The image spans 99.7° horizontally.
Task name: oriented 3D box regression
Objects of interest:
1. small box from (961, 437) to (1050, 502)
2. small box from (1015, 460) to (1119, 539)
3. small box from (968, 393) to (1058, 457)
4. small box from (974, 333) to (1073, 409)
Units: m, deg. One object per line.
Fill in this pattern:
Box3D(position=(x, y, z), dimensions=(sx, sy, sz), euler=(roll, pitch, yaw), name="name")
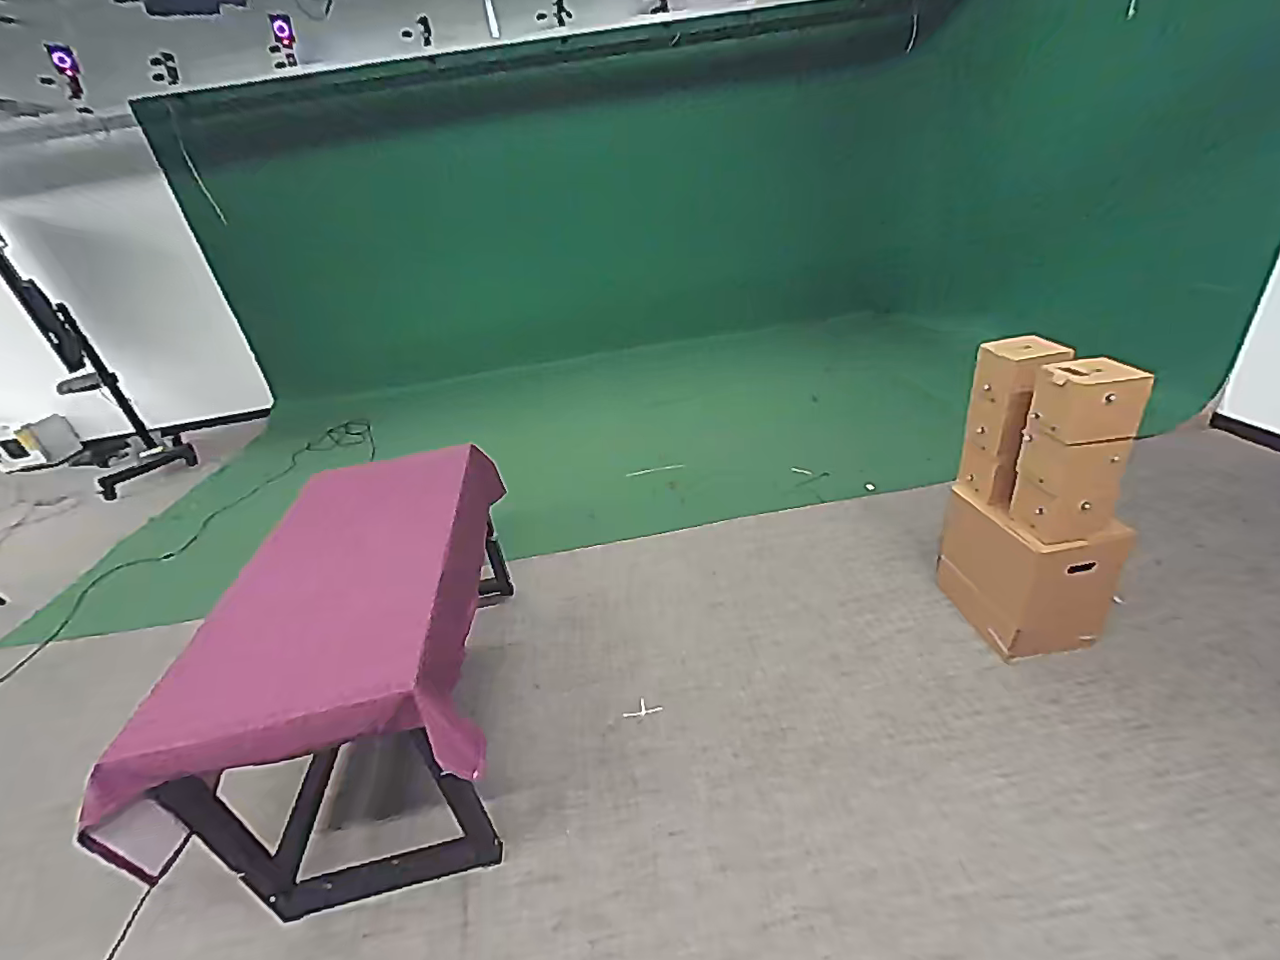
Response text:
Box3D(position=(1.211, -0.049, 1.808), dimensions=(0.179, 0.176, 0.168), euler=(-12, 31, -1), name="small box")
Box3D(position=(1.250, 0.060, 1.602), dimensions=(0.179, 0.176, 0.168), euler=(-9, 29, 1), name="small box")
Box3D(position=(1.180, -0.188, 1.727), dimensions=(0.179, 0.176, 0.168), euler=(-11, 31, 0), name="small box")
Box3D(position=(1.157, -0.332, 1.647), dimensions=(0.179, 0.176, 0.168), euler=(-11, 30, 0), name="small box")
